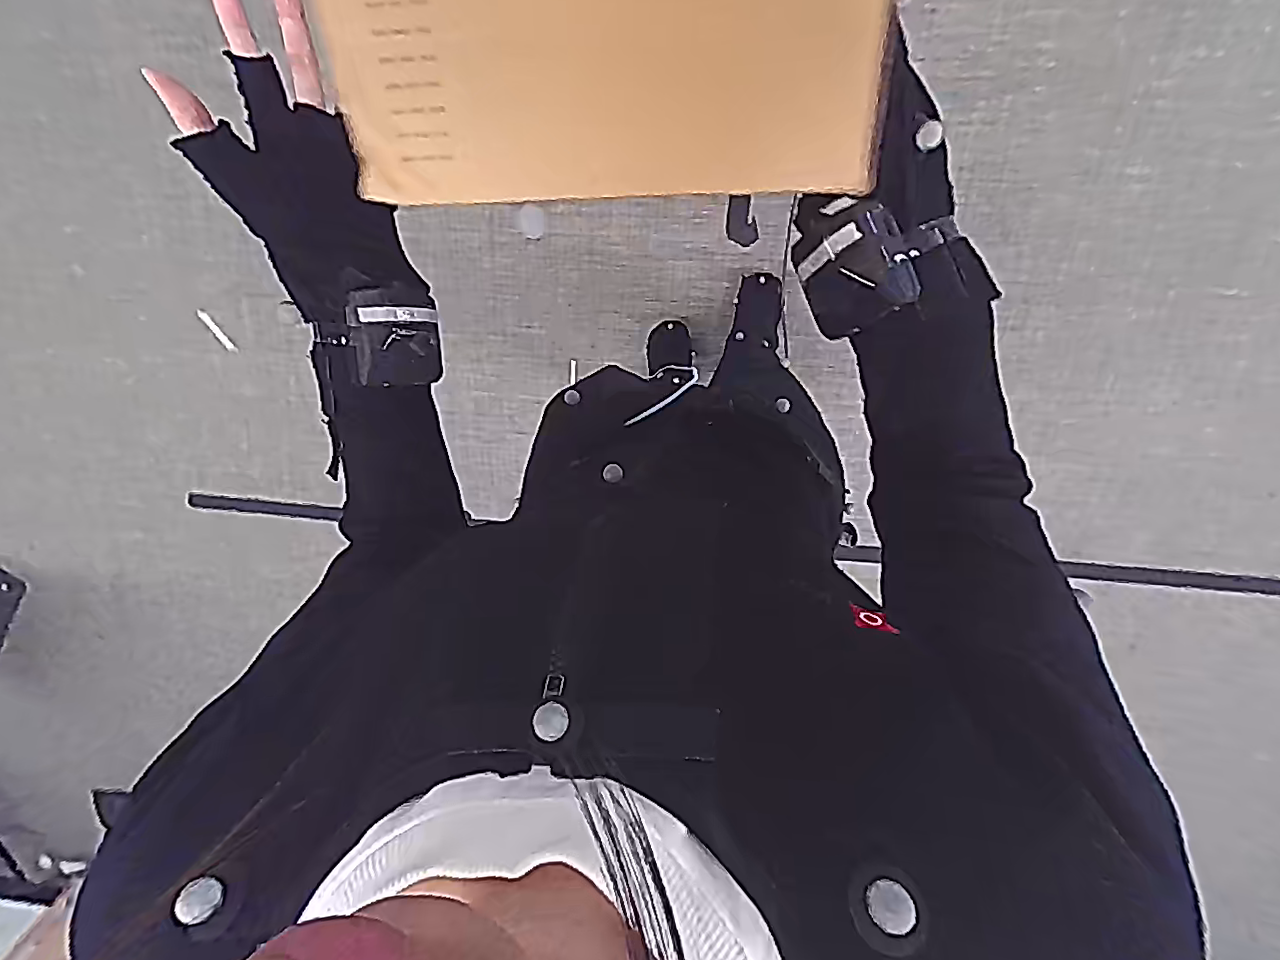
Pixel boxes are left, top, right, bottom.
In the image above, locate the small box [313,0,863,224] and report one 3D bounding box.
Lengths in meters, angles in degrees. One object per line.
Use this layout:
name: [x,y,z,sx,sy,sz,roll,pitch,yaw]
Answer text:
small box: [-0.015,-0.207,0.213,0.176,0.168,0.179,1,120,7]
